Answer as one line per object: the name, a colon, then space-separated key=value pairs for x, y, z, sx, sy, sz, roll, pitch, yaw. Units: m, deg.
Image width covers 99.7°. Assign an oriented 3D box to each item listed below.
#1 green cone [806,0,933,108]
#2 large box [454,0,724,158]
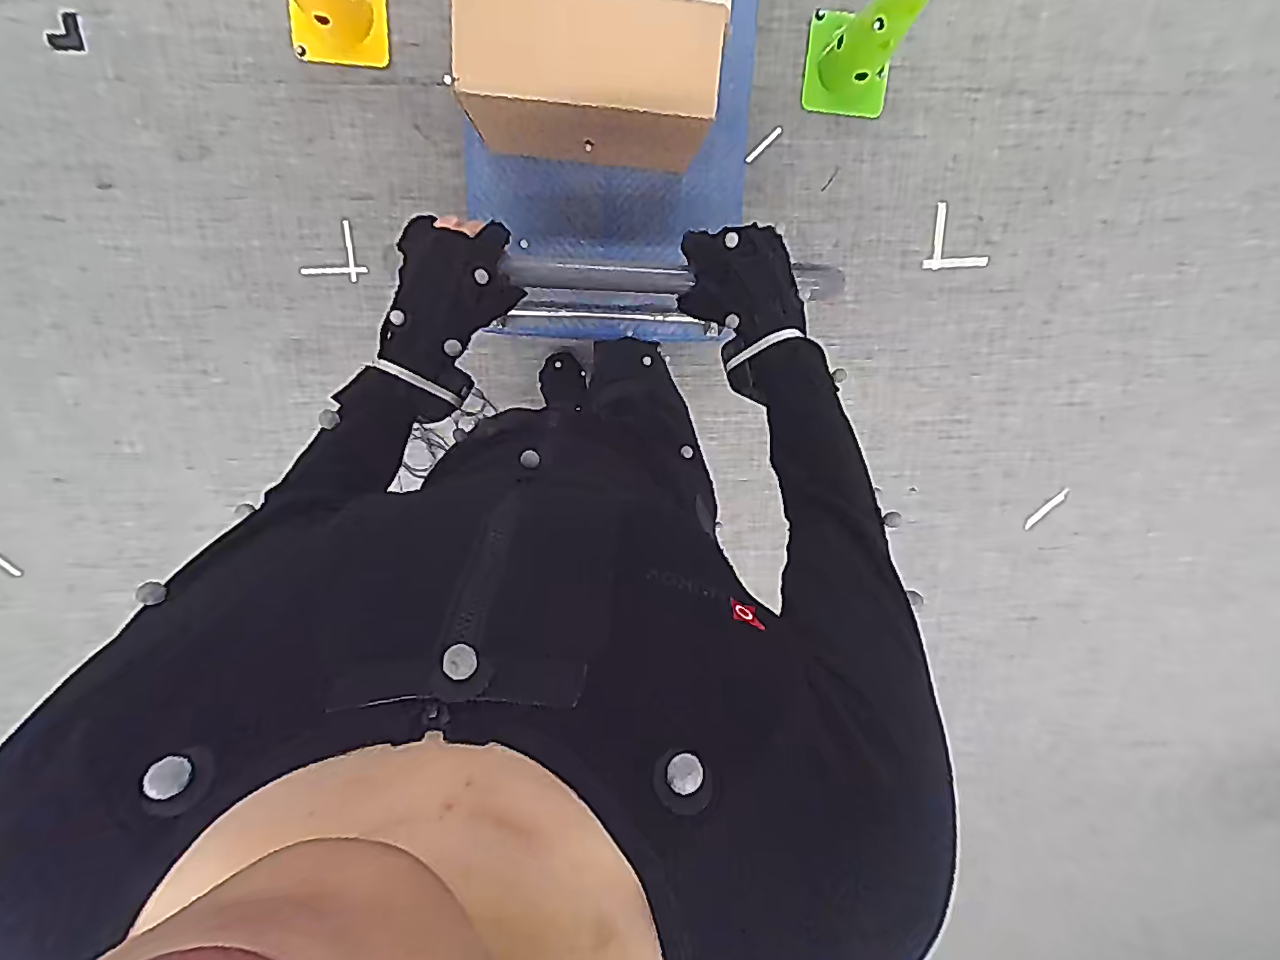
green cone: x=0.504 y=-0.932 z=1.082 sx=0.202 sy=0.368 sz=0.200 roll=2 pitch=106 yaw=-6
large box: x=-0.078 y=-0.775 z=0.929 sx=0.408 sy=0.320 sz=0.320 roll=3 pitch=106 yaw=-5
